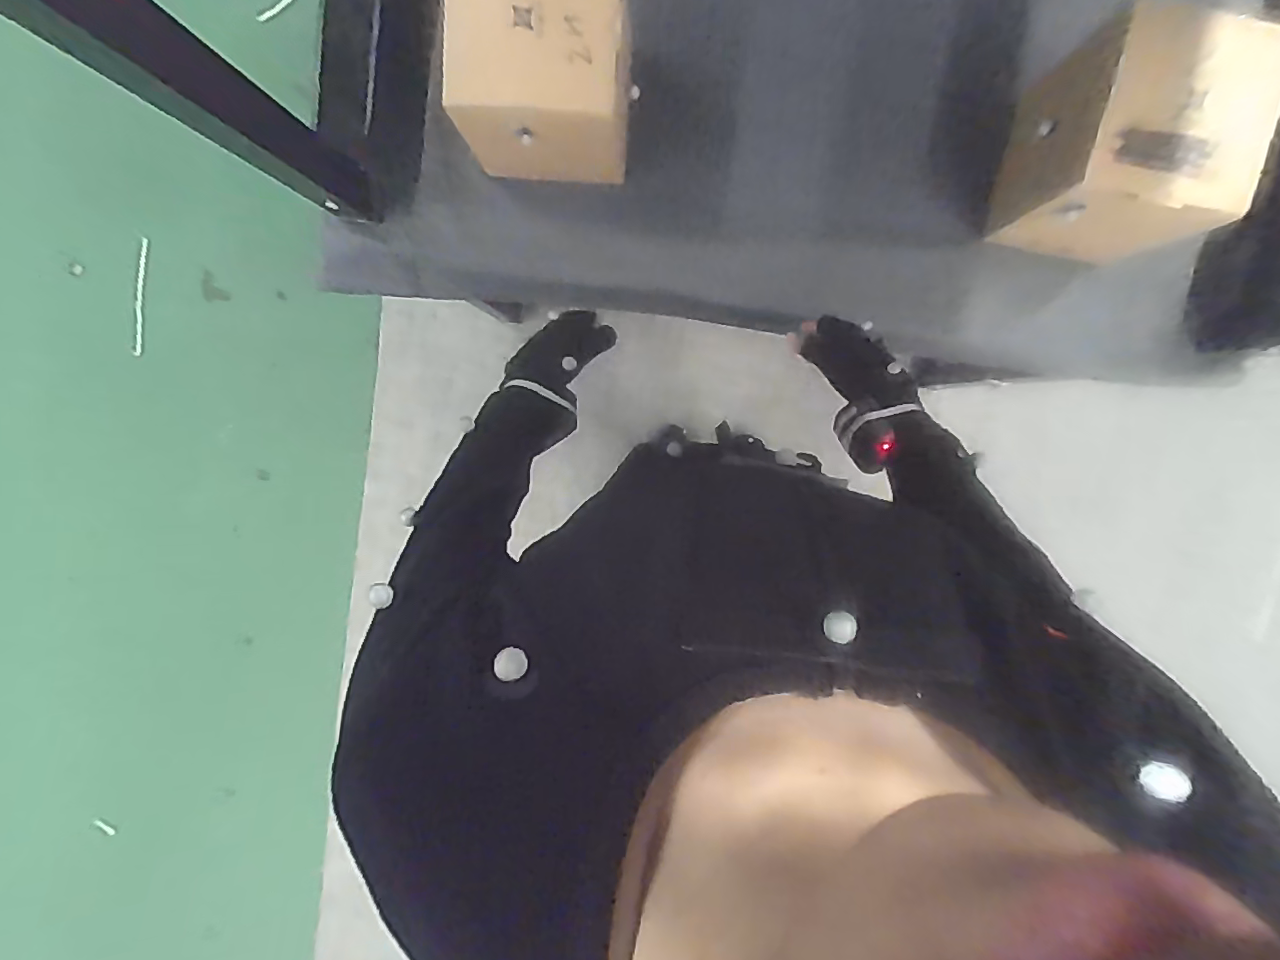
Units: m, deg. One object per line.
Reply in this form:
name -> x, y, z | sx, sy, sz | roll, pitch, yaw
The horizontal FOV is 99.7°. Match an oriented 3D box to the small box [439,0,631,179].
small box -> -0.107, -0.462, 0.610 | 0.179, 0.176, 0.168 | 4, 98, 1
